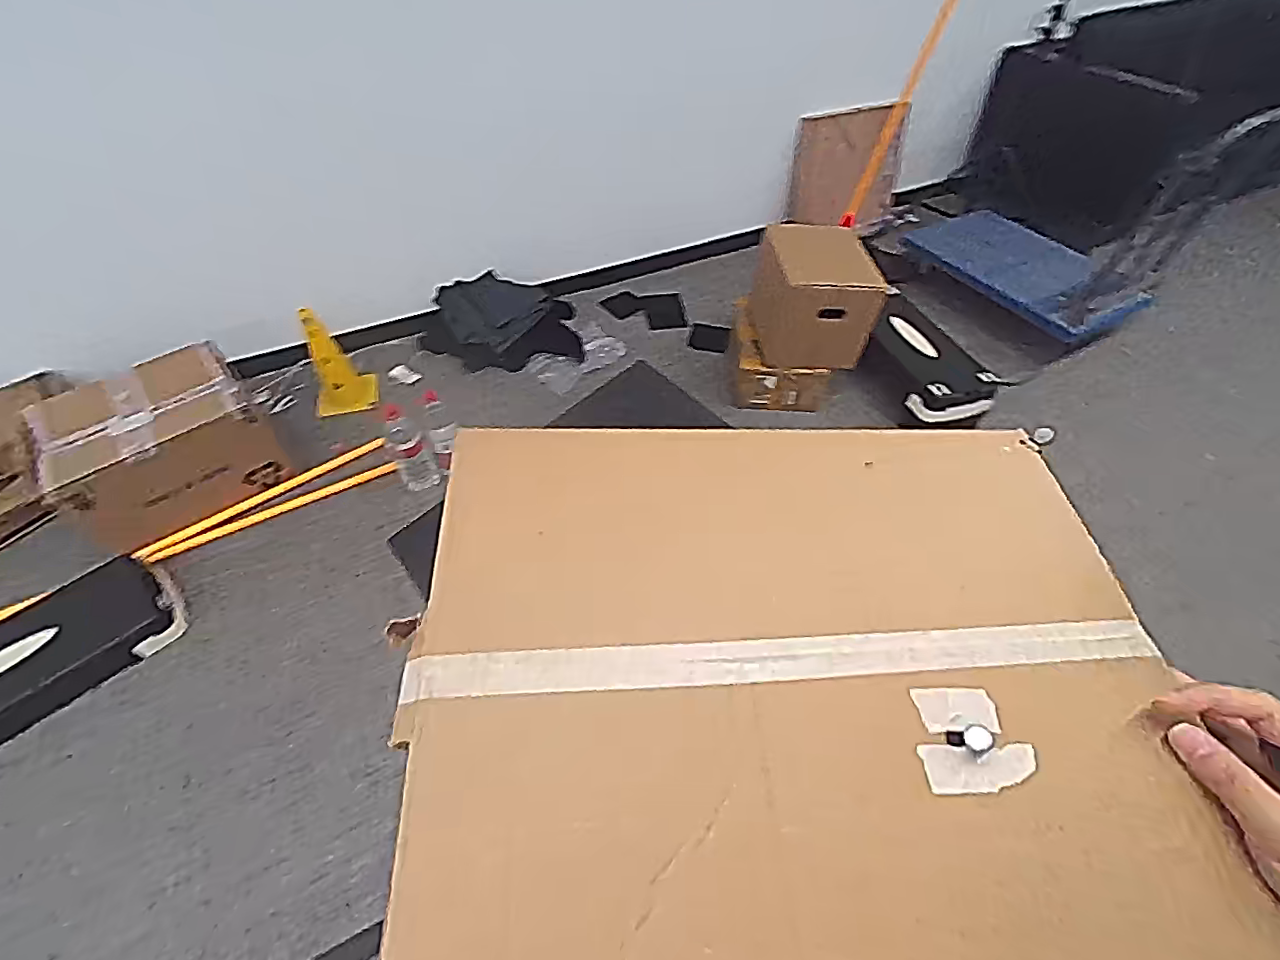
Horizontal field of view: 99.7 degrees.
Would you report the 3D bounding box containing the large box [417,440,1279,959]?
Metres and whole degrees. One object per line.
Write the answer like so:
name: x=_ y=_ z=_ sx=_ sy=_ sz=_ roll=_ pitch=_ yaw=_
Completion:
large box: x=0.081 y=0.183 z=0.423 sx=0.408 sy=0.320 sz=0.320 roll=1 pitch=57 yaw=-7
